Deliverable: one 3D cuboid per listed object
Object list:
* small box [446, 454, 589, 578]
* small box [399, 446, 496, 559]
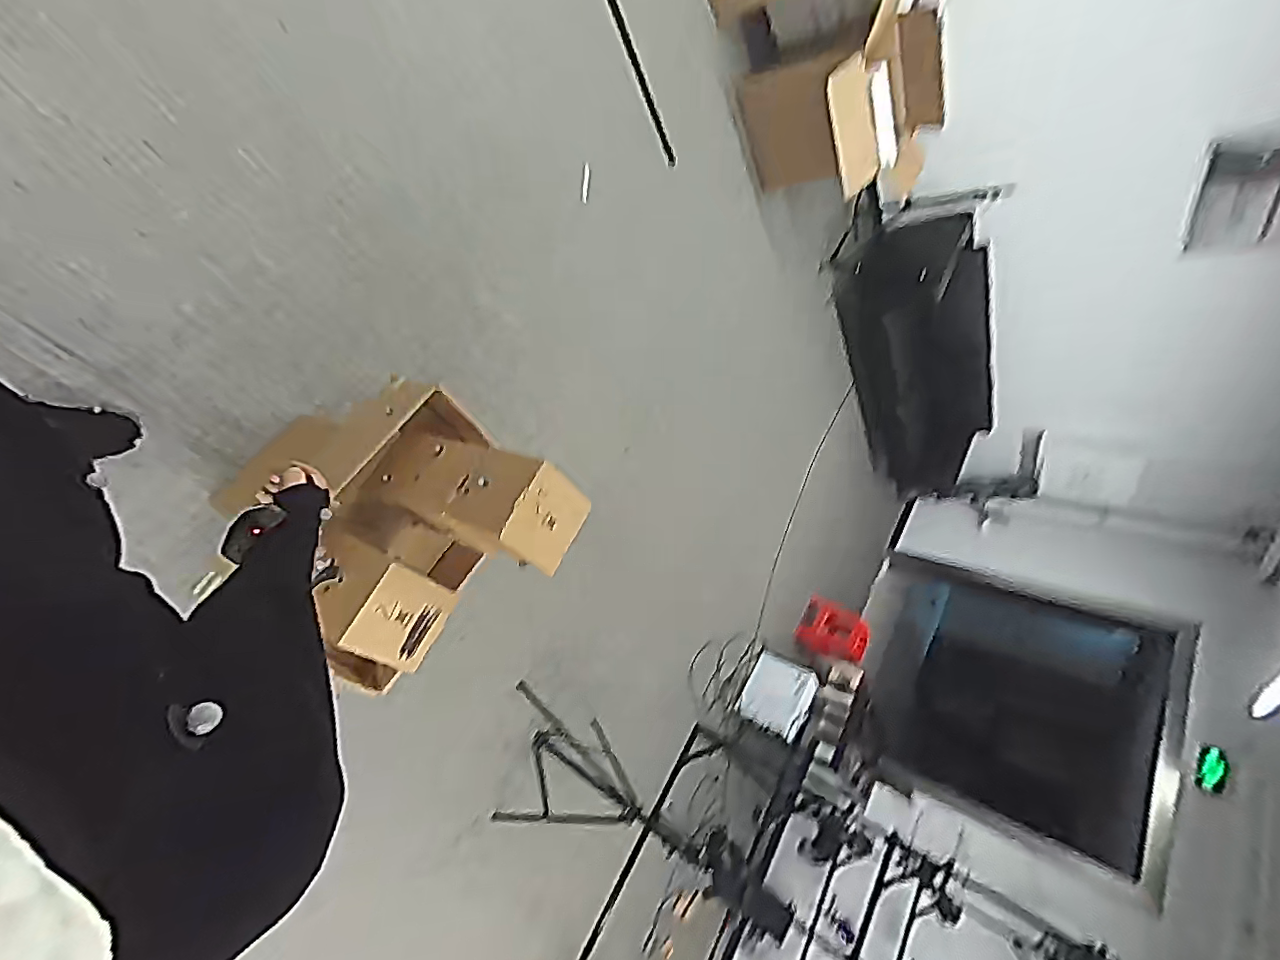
[{"bbox_3d":[-0.239,0.066,1.068,0.168,0.176,0.179,-61,140,-19],"label":"small box"},{"bbox_3d":[-0.376,0.042,1.160,0.168,0.176,0.179,-60,140,-20],"label":"small box"}]
